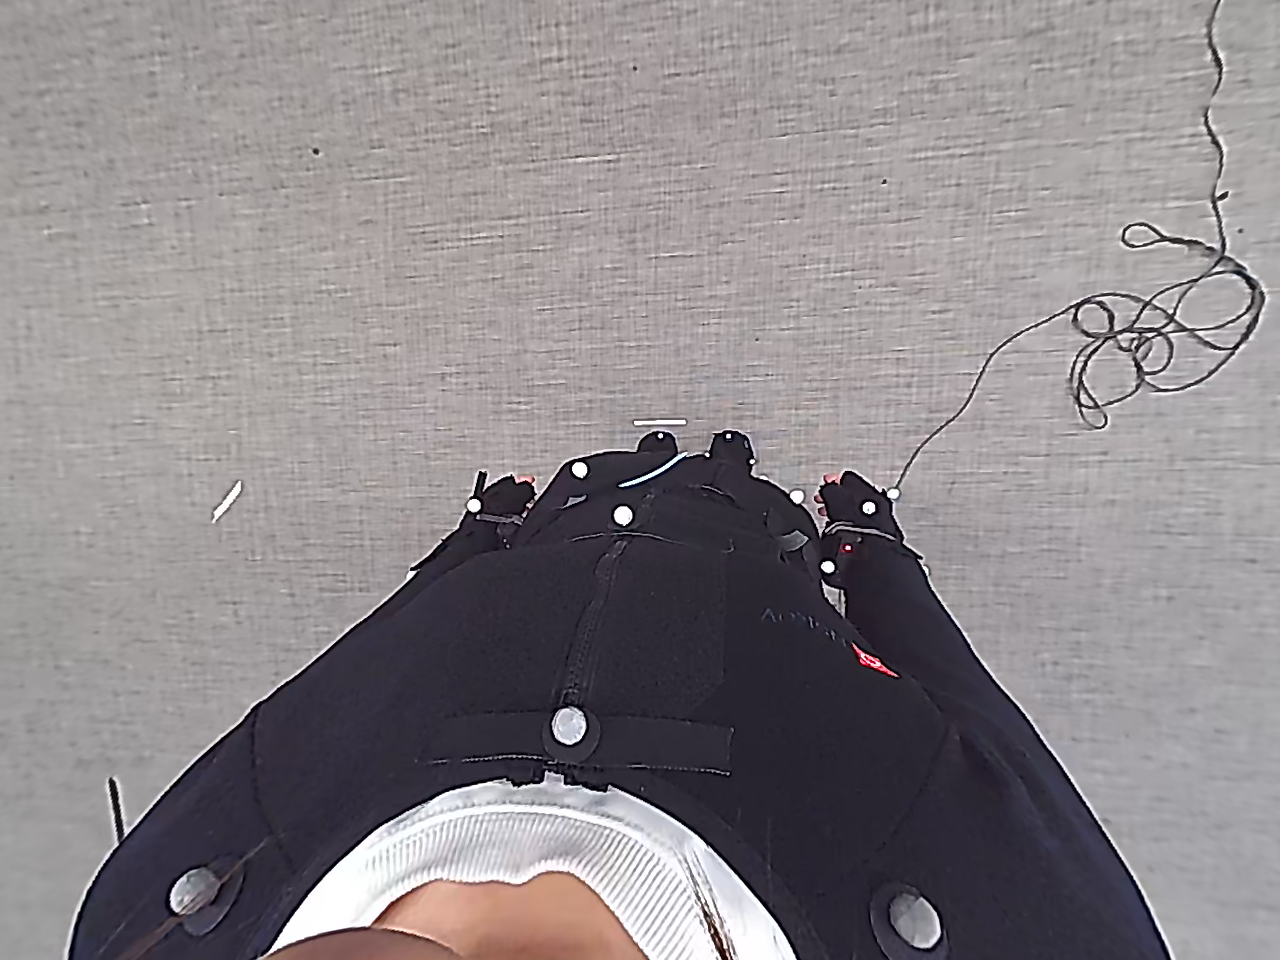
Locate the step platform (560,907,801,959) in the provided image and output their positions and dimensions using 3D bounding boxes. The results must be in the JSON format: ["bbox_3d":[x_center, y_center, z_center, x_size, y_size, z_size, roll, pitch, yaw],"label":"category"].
[{"bbox_3d":[0.110,1.417,1.500,0.684,0.204,0.286,-2,96,9],"label":"step platform"}]
